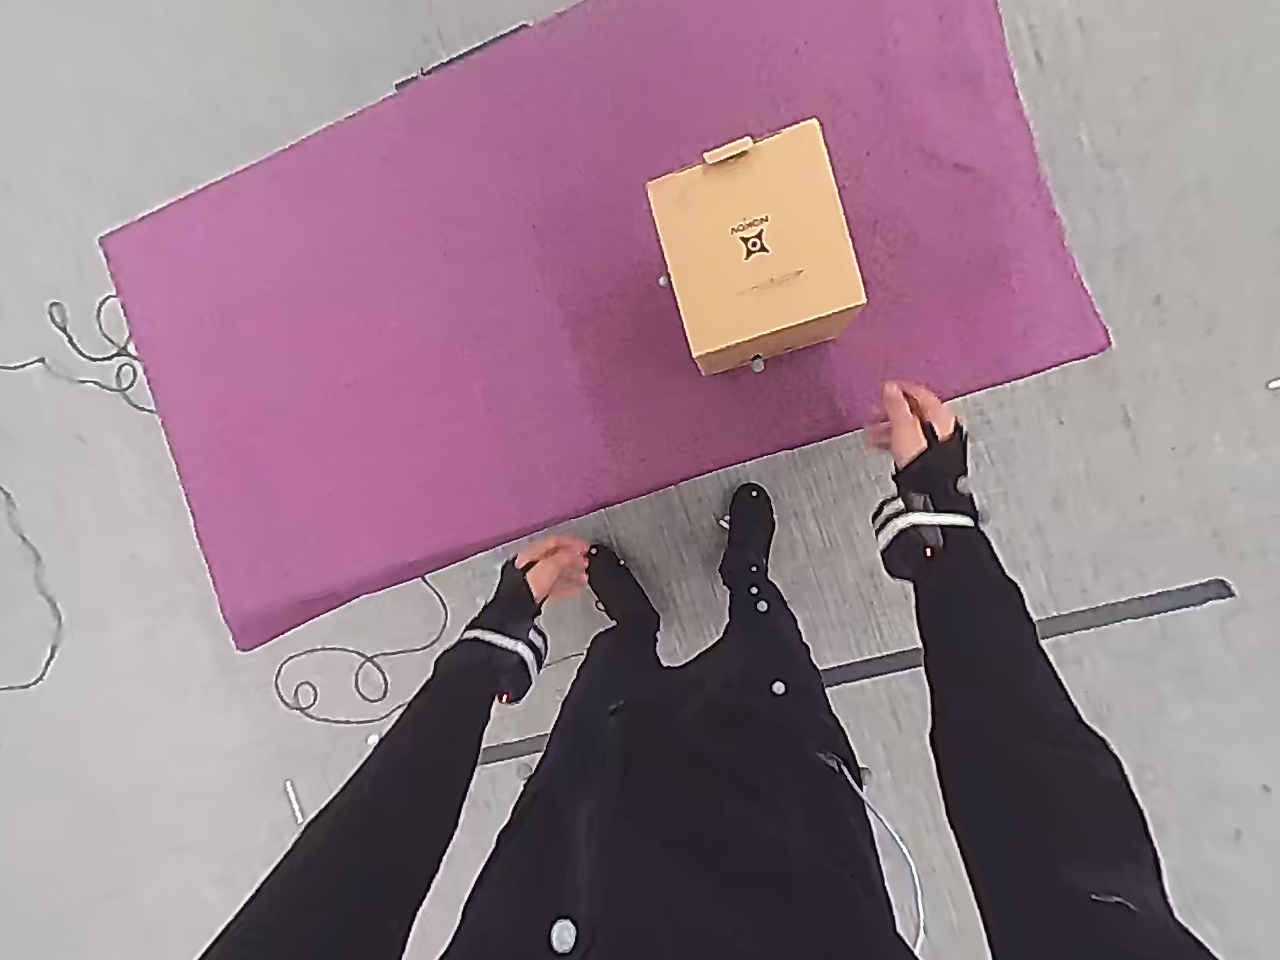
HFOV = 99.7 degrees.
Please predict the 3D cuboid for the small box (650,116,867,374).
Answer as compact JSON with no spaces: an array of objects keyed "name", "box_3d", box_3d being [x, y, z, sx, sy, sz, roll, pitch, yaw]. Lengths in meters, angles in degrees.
[{"name":"small box","box_3d":[0.119,-0.226,0.572,0.168,0.176,0.179,-14,91,12]}]
